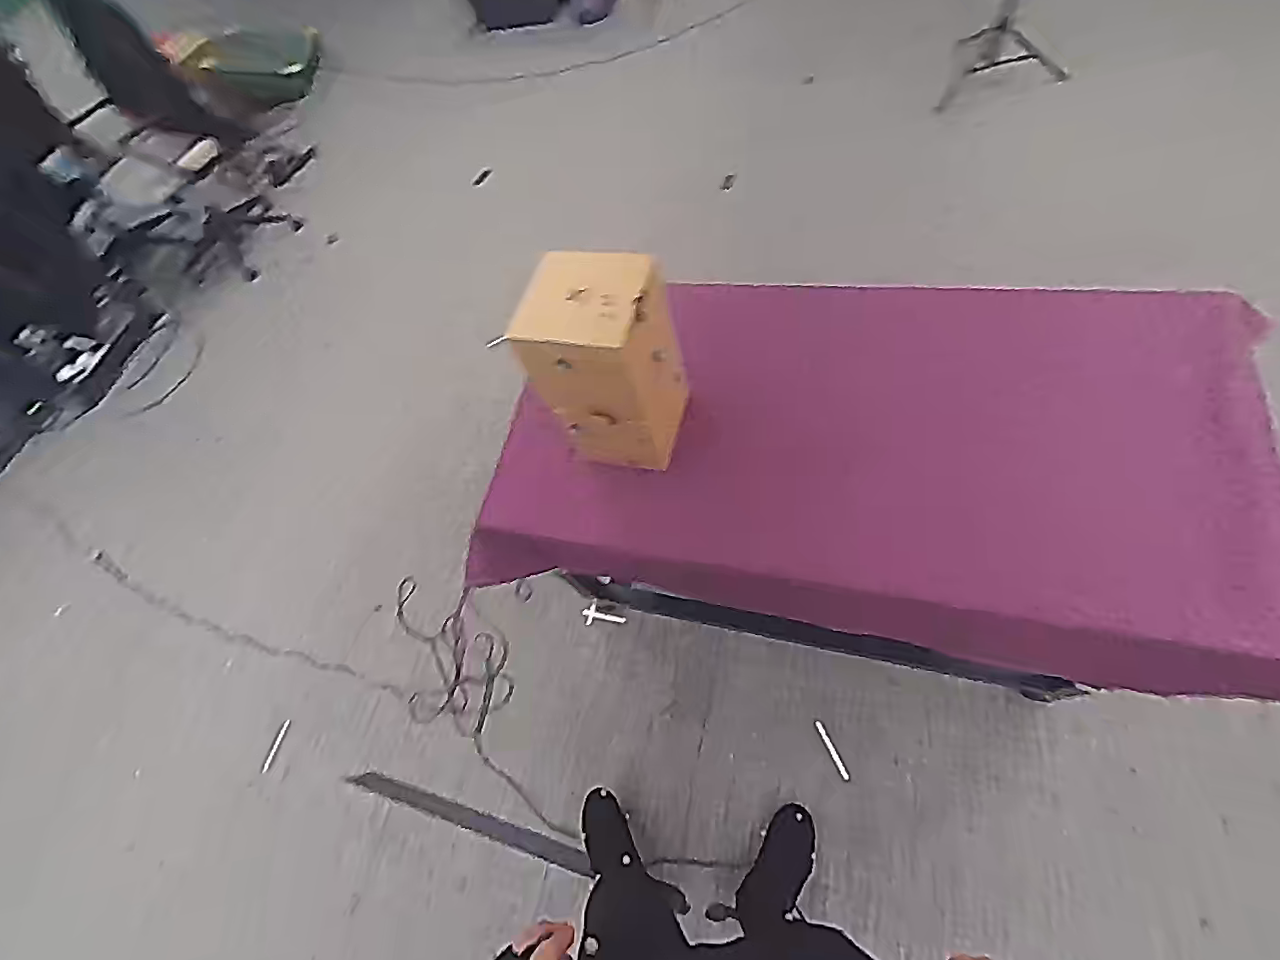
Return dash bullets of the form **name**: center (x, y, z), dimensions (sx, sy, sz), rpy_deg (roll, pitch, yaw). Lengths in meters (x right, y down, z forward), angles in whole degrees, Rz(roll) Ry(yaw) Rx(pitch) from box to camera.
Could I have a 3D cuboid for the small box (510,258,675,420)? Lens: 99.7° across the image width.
- **small box**: center (-0.060, -0.208, 0.815), dimensions (0.179, 0.176, 0.168), rpy_deg (11, 66, 18)
